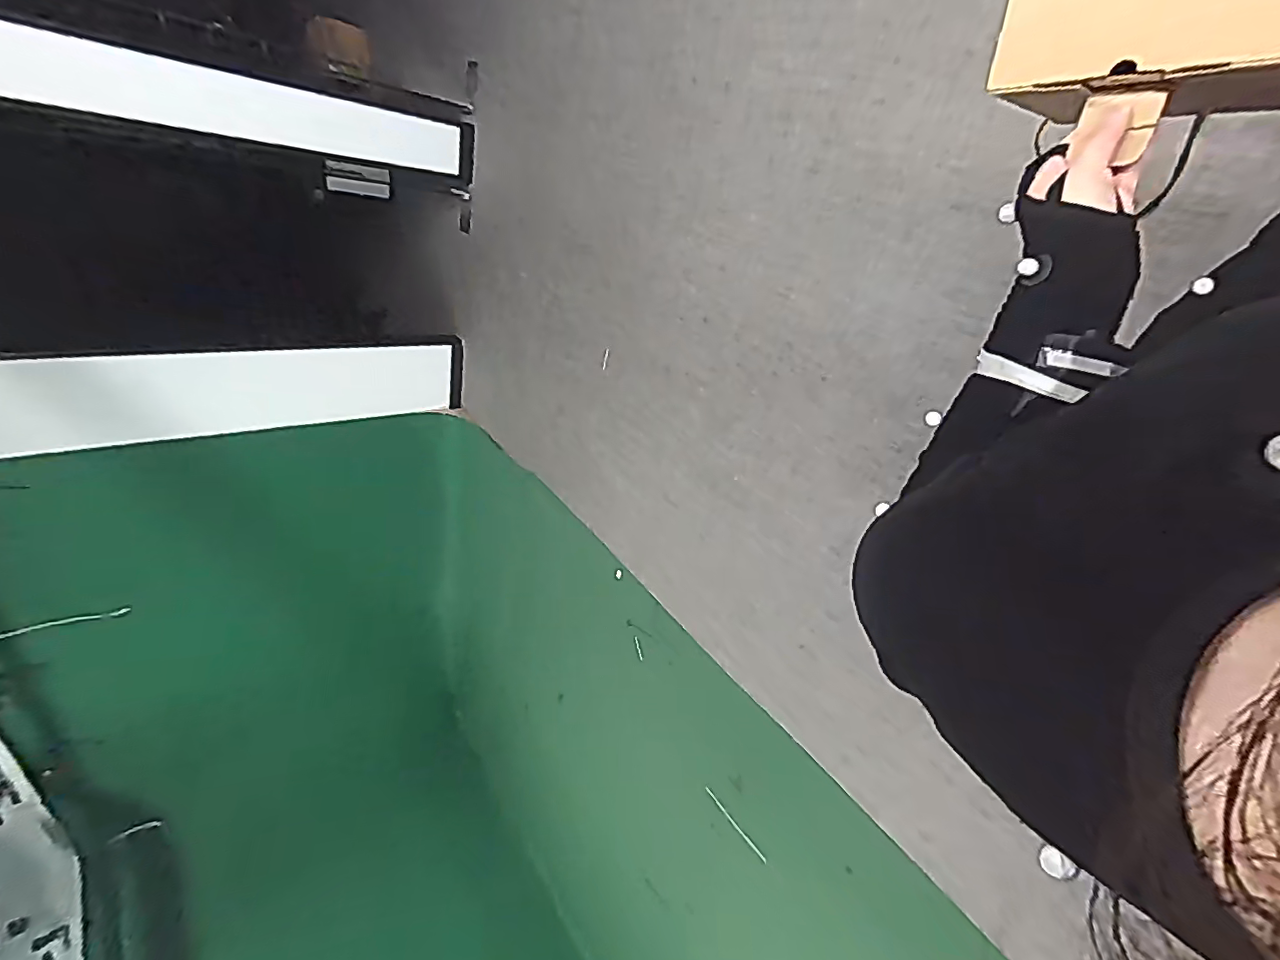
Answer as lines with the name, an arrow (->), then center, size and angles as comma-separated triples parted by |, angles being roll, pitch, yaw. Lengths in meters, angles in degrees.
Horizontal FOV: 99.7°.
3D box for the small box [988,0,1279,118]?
small box -> 0.382, -0.367, 0.369 | 0.168, 0.176, 0.179 | 30, 128, 43
